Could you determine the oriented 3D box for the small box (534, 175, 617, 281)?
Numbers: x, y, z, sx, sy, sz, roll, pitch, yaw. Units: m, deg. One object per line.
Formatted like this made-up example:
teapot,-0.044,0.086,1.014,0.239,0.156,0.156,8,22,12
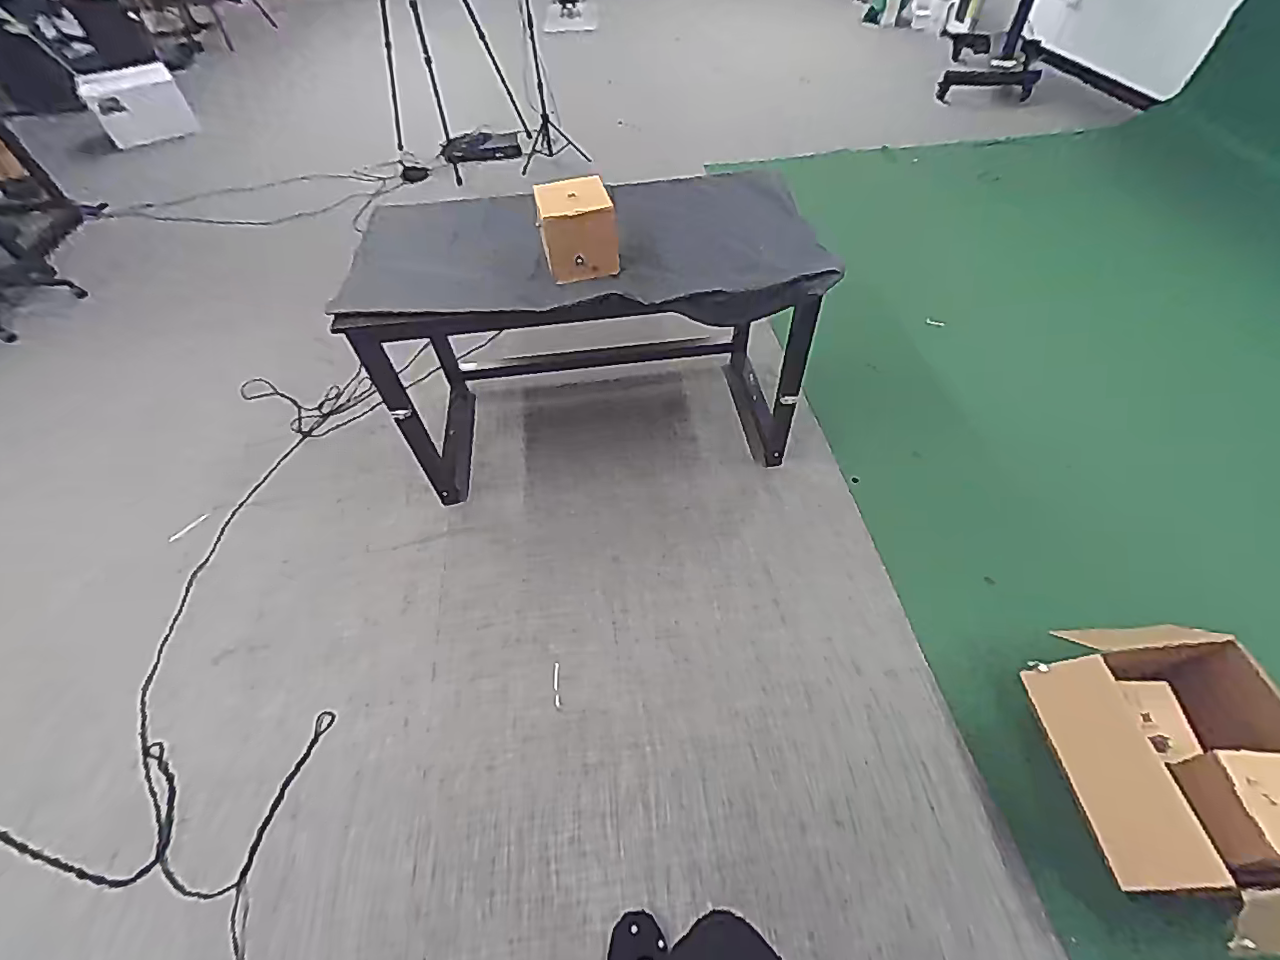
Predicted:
small box,-0.156,-0.614,1.322,0.168,0.176,0.179,-13,53,-7
